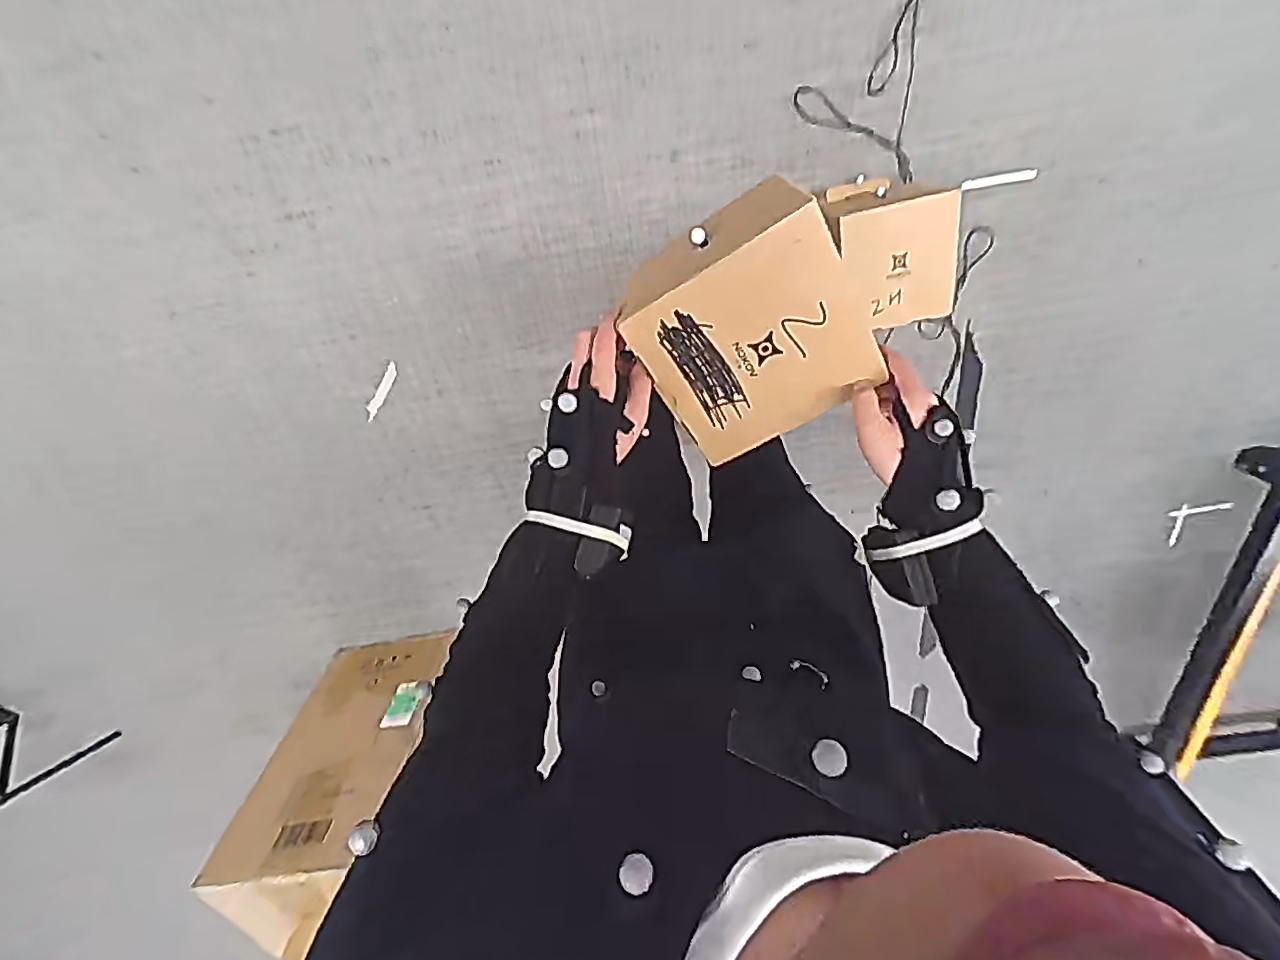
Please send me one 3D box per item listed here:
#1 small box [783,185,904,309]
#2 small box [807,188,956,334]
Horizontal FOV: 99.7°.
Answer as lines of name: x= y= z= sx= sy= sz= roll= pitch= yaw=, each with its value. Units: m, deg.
small box: x=0.365 y=-0.435 z=0.998 sx=0.168 sy=0.176 sz=0.179 roll=-9 pitch=121 yaw=5
small box: x=0.369 y=-0.351 z=0.856 sx=0.168 sy=0.176 sz=0.179 roll=-10 pitch=120 yaw=6
